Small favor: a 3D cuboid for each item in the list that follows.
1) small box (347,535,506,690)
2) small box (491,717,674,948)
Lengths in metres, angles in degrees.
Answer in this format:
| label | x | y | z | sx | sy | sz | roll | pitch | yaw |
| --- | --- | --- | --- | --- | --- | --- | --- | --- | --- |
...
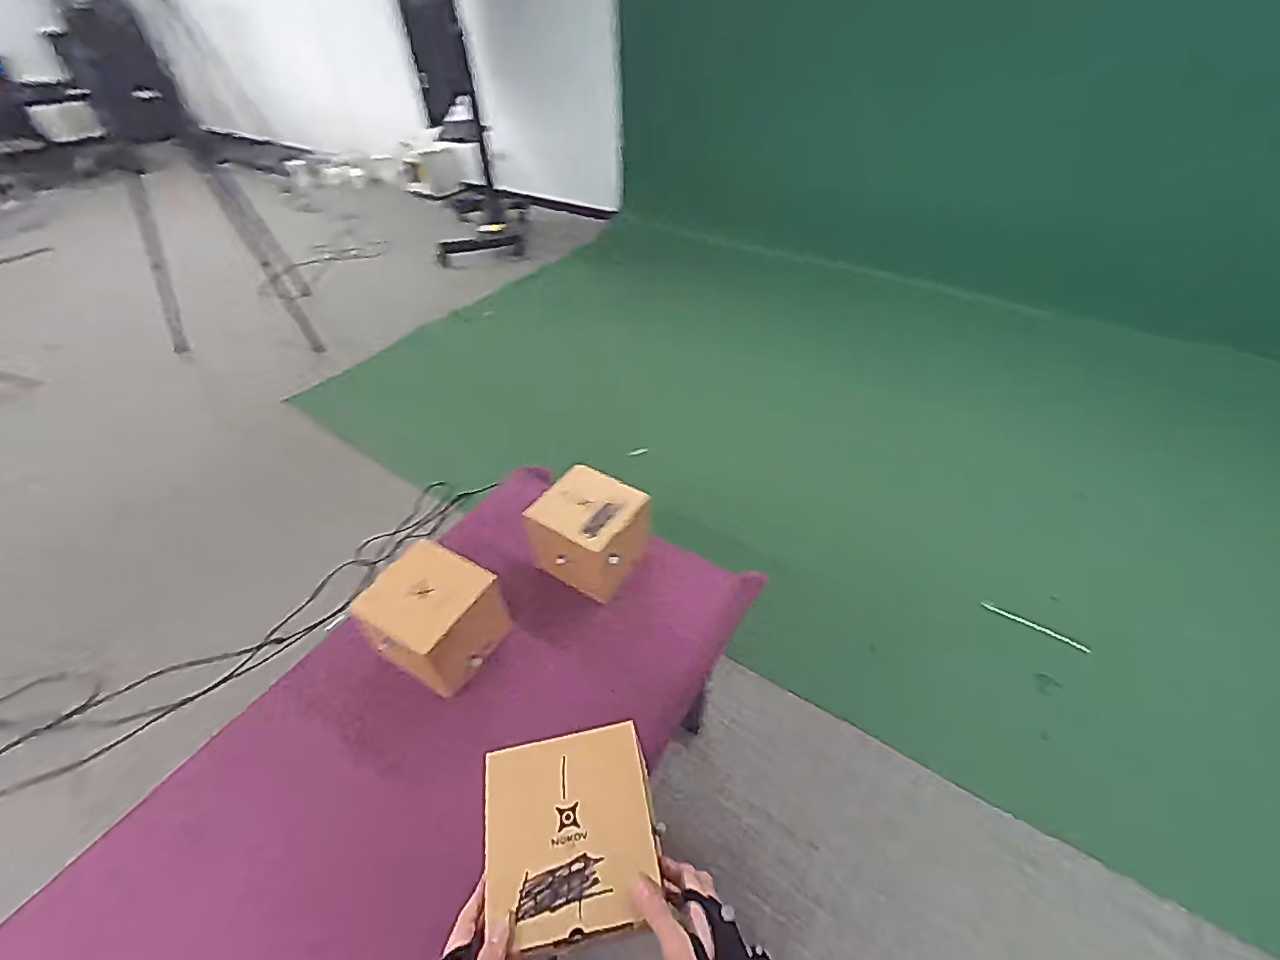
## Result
| label | x | y | z | sx | sy | sz | roll | pitch | yaw |
| --- | --- | --- | --- | --- | --- | --- | --- | --- | --- |
| small box | -0.361 | 0.233 | 0.944 | 0.179 | 0.176 | 0.168 | 23 | 50 | 21 |
| small box | -0.057 | 0.390 | 0.595 | 0.168 | 0.176 | 0.179 | -9 | 47 | -3 |
